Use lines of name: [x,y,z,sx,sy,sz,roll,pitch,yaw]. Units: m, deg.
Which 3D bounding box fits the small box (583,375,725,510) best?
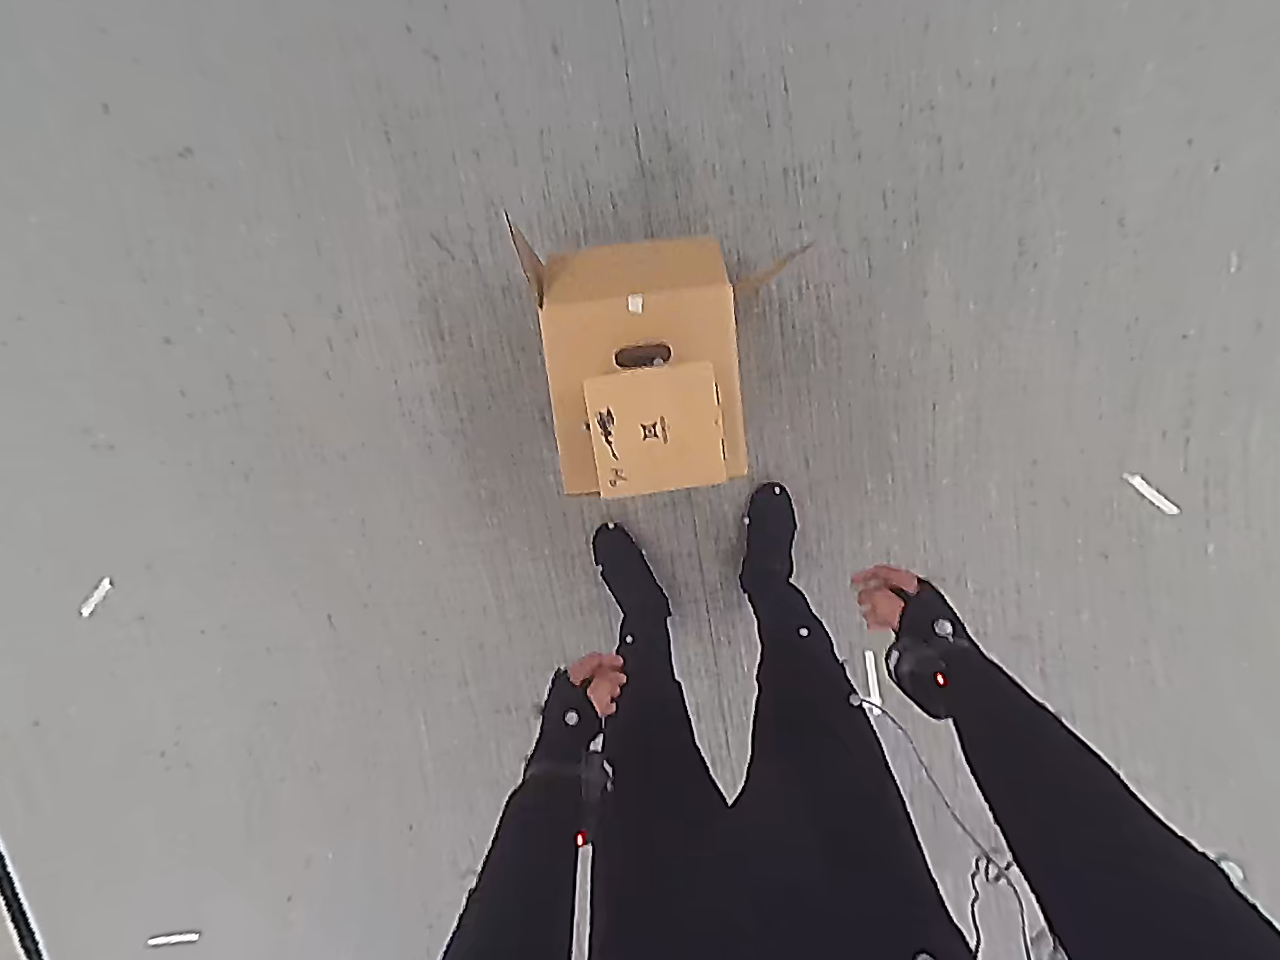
small box: [0.019,-0.063,0.799,0.179,0.176,0.168,-8,100,2]
